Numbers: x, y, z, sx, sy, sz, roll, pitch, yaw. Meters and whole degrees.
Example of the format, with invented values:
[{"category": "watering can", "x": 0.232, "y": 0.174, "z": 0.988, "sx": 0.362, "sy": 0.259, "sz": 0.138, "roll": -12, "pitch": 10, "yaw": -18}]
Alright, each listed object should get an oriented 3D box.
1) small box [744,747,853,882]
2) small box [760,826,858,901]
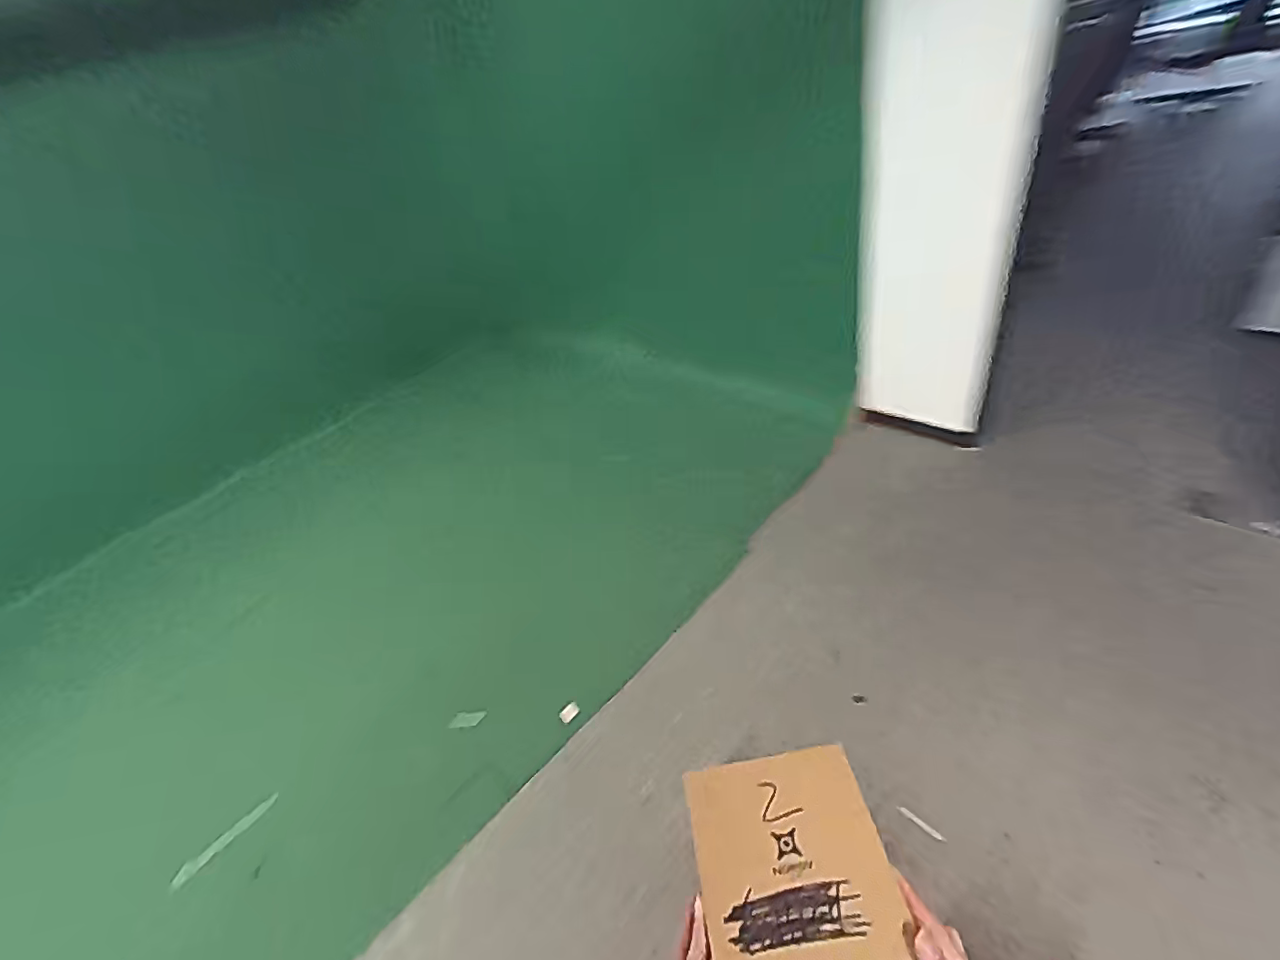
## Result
[{"category": "small box", "x": 0.361, "y": 0.755, "z": 1.217, "sx": 0.179, "sy": 0.176, "sz": 0.168, "roll": -37, "pitch": 43, "yaw": -19}, {"category": "small box", "x": 0.406, "y": 0.874, "z": 1.319, "sx": 0.168, "sy": 0.176, "sz": 0.179, "roll": -36, "pitch": 43, "yaw": -20}]
